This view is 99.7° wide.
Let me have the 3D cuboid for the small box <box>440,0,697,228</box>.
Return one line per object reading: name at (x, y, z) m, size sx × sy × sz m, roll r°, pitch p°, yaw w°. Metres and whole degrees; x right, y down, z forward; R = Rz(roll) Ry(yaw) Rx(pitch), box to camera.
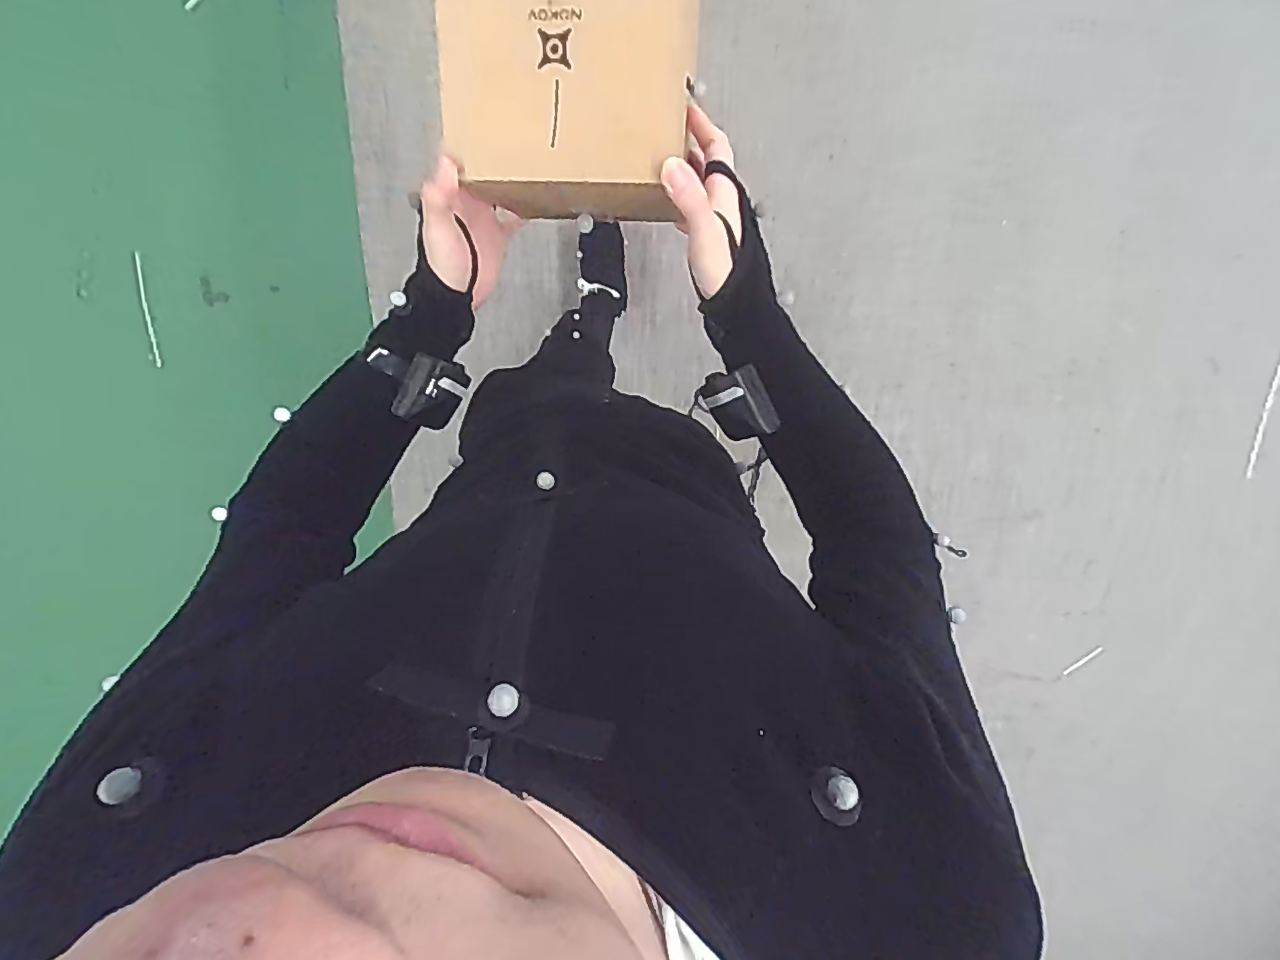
small box at (-0.043, -0.314, 0.434) m, size 0.168 × 0.176 × 0.179 m, roll 5°, pitch 108°, yaw 6°
